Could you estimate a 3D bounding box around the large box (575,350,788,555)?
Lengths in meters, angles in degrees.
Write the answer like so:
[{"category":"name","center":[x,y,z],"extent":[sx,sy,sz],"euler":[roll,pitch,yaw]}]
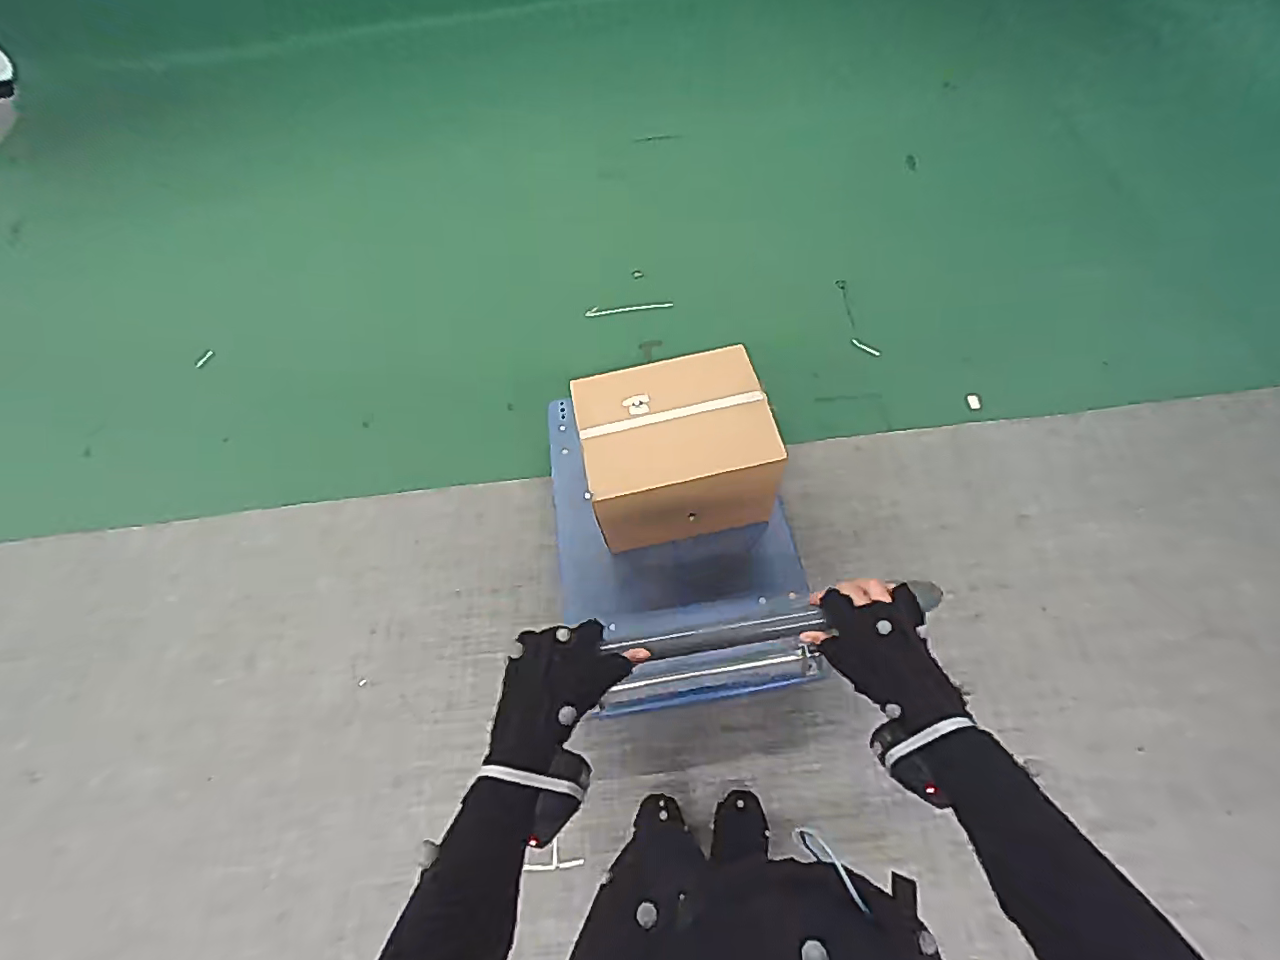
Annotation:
[{"category":"large box","center":[0.092,-0.053,1.289],"extent":[0.408,0.320,0.320],"euler":[-14,61,-1]}]
